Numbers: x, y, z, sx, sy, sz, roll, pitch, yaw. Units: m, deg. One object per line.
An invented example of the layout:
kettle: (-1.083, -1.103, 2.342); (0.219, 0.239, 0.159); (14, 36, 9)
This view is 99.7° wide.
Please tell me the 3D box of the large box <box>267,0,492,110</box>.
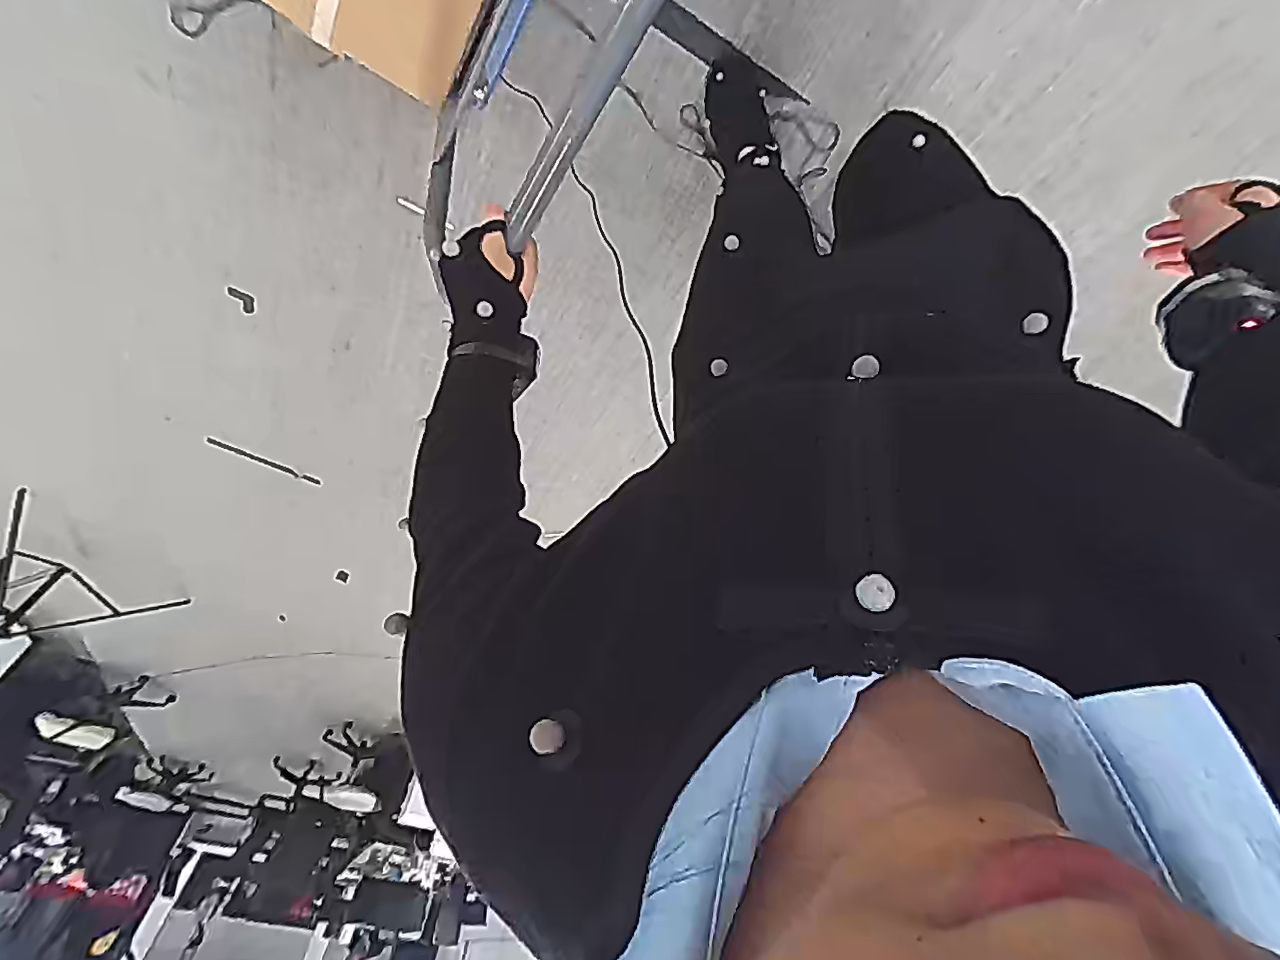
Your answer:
large box: (-0.303, -0.793, 0.666); (0.320, 0.320, 0.408); (19, 136, -31)
